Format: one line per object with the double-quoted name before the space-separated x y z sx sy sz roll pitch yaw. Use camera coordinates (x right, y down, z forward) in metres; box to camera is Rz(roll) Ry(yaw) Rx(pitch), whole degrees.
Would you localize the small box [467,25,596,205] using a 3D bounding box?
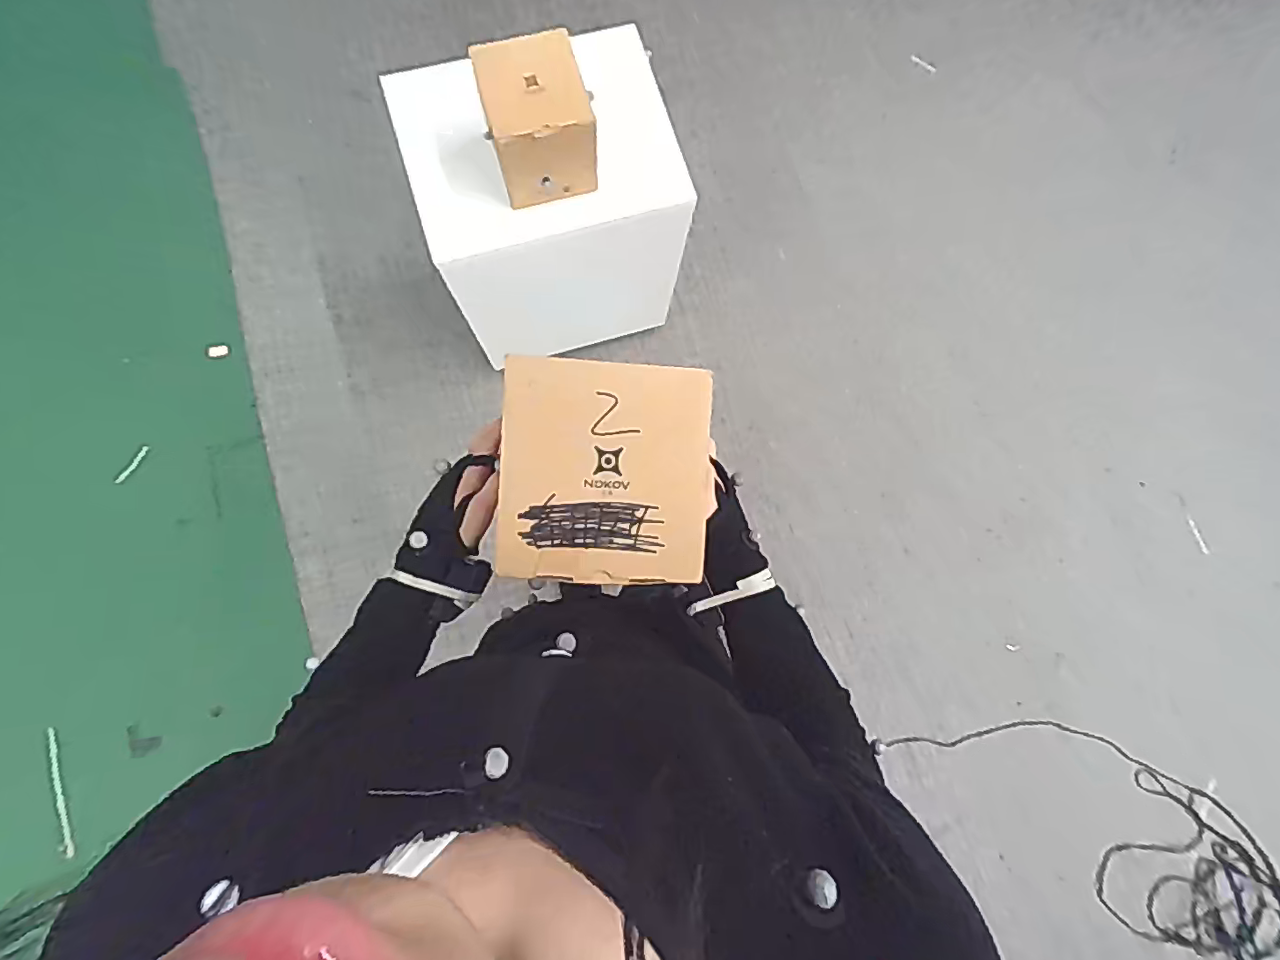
"small box" -0.178 -0.612 0.923 0.168 0.176 0.179 -17 82 -7
